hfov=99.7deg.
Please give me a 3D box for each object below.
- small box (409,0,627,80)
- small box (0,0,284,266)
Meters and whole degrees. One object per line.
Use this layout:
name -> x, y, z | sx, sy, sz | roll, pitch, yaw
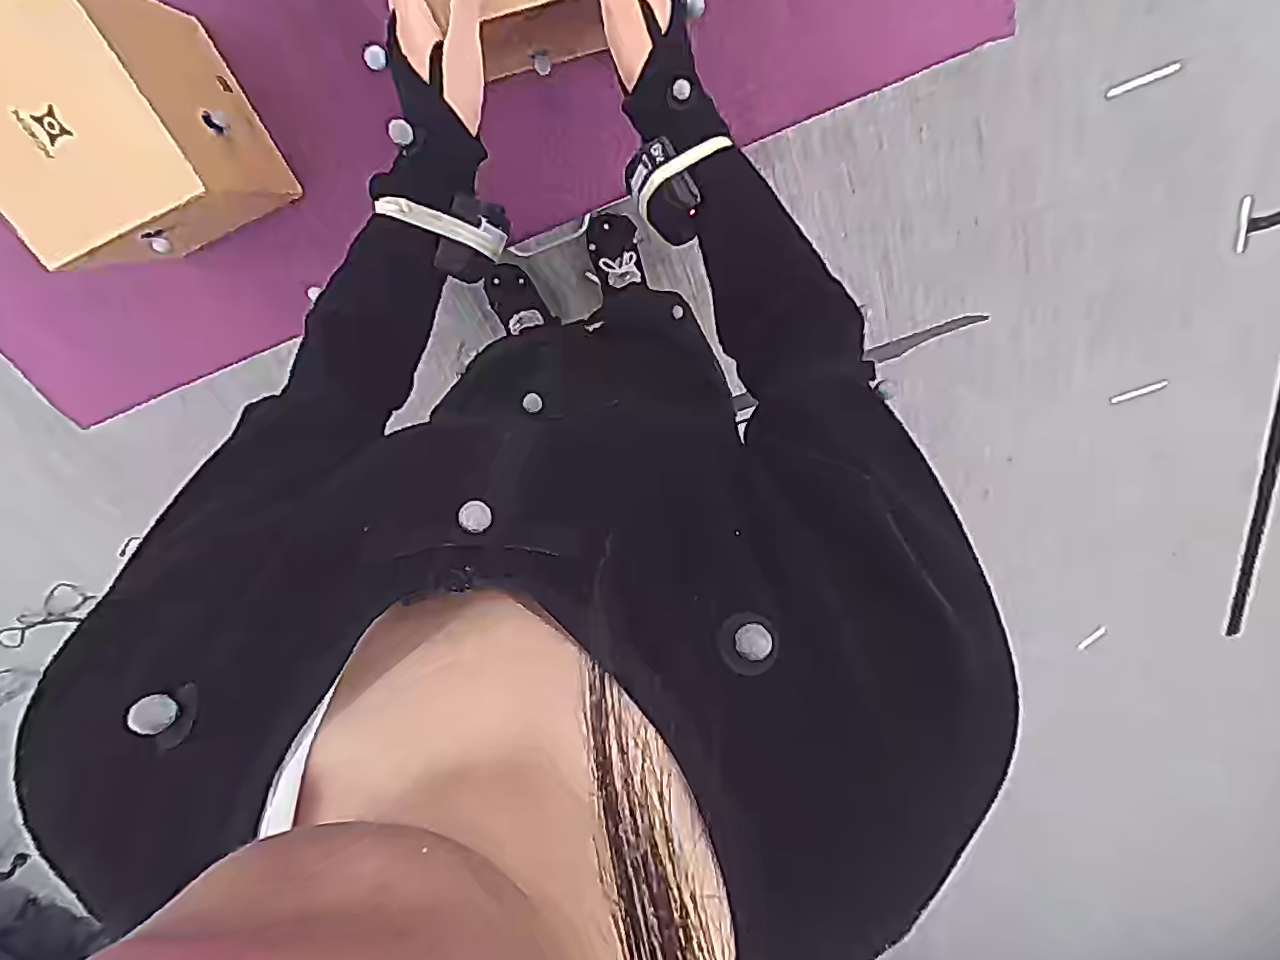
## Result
small box -> -0.109, -0.462, 0.438 | 0.168, 0.176, 0.179 | -12, 116, 2
small box -> -0.477, -0.322, 0.502 | 0.179, 0.176, 0.168 | -20, 117, 8
